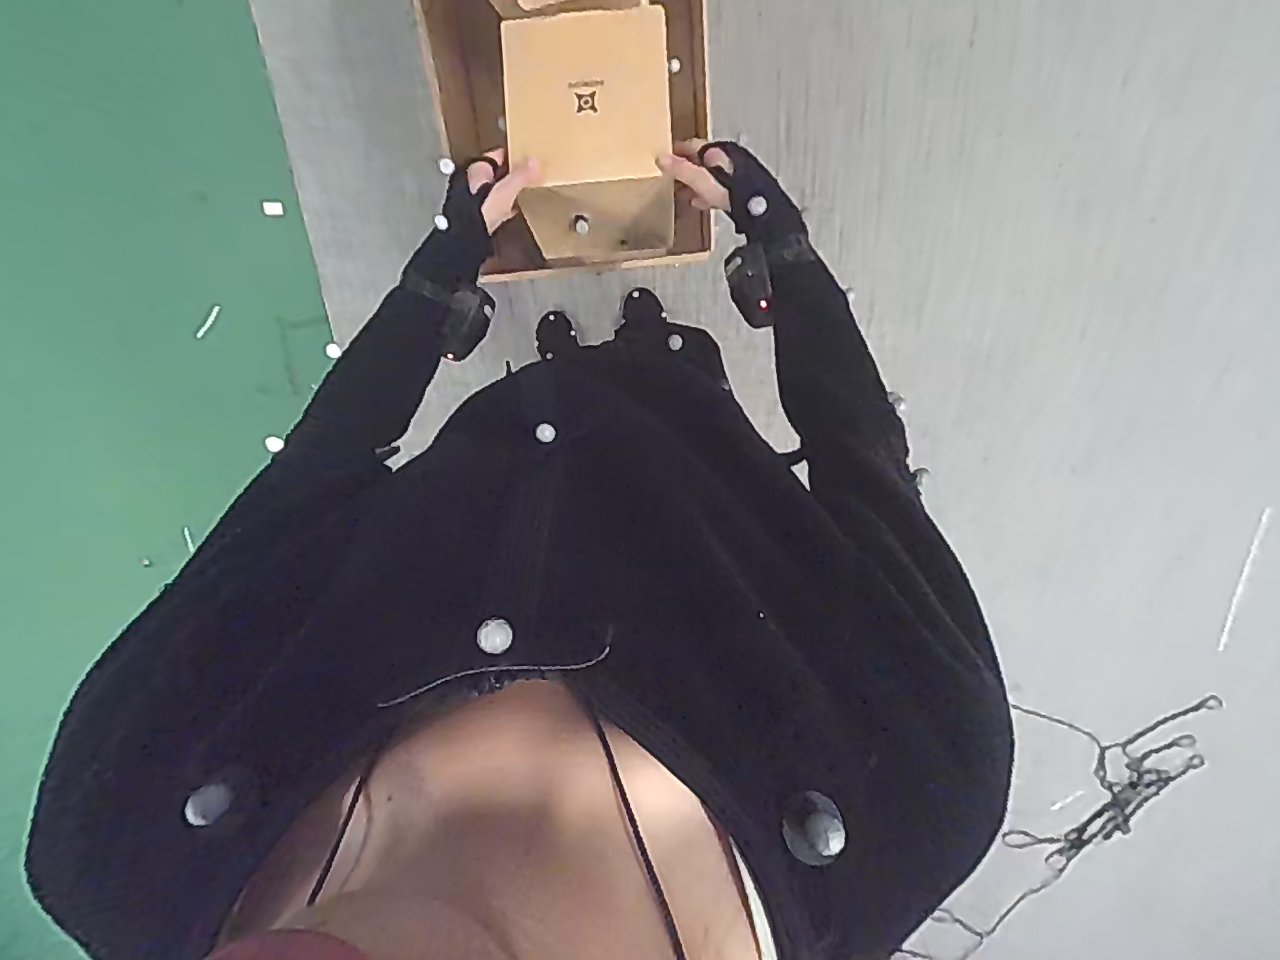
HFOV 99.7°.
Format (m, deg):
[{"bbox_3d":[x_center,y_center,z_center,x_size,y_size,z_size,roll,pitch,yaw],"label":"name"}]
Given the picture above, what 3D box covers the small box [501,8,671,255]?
[{"bbox_3d":[-0.050,-0.373,0.614,0.168,0.176,0.179,-3,87,2],"label":"small box"}]
